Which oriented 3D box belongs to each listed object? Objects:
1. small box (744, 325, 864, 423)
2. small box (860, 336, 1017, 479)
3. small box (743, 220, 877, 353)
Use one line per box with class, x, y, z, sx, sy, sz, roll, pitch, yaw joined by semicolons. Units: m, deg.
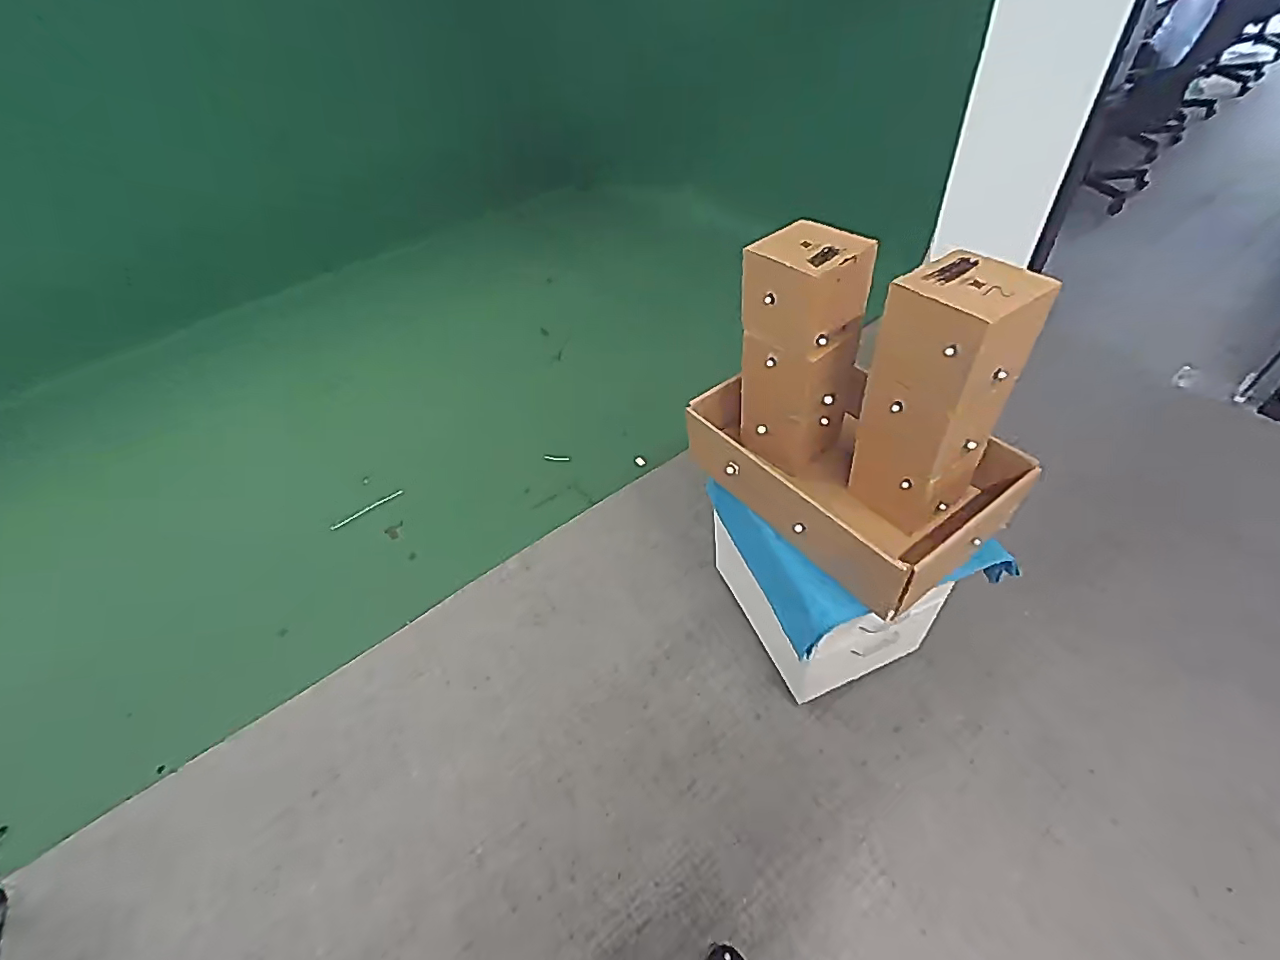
small box;0.337;-0.250;1.152;0.168;0.176;0.179;-35;53;-22
small box;0.542;-0.134;1.009;0.168;0.176;0.179;-29;49;-16
small box;0.317;-0.366;1.036;0.168;0.176;0.179;-32;50;-20
